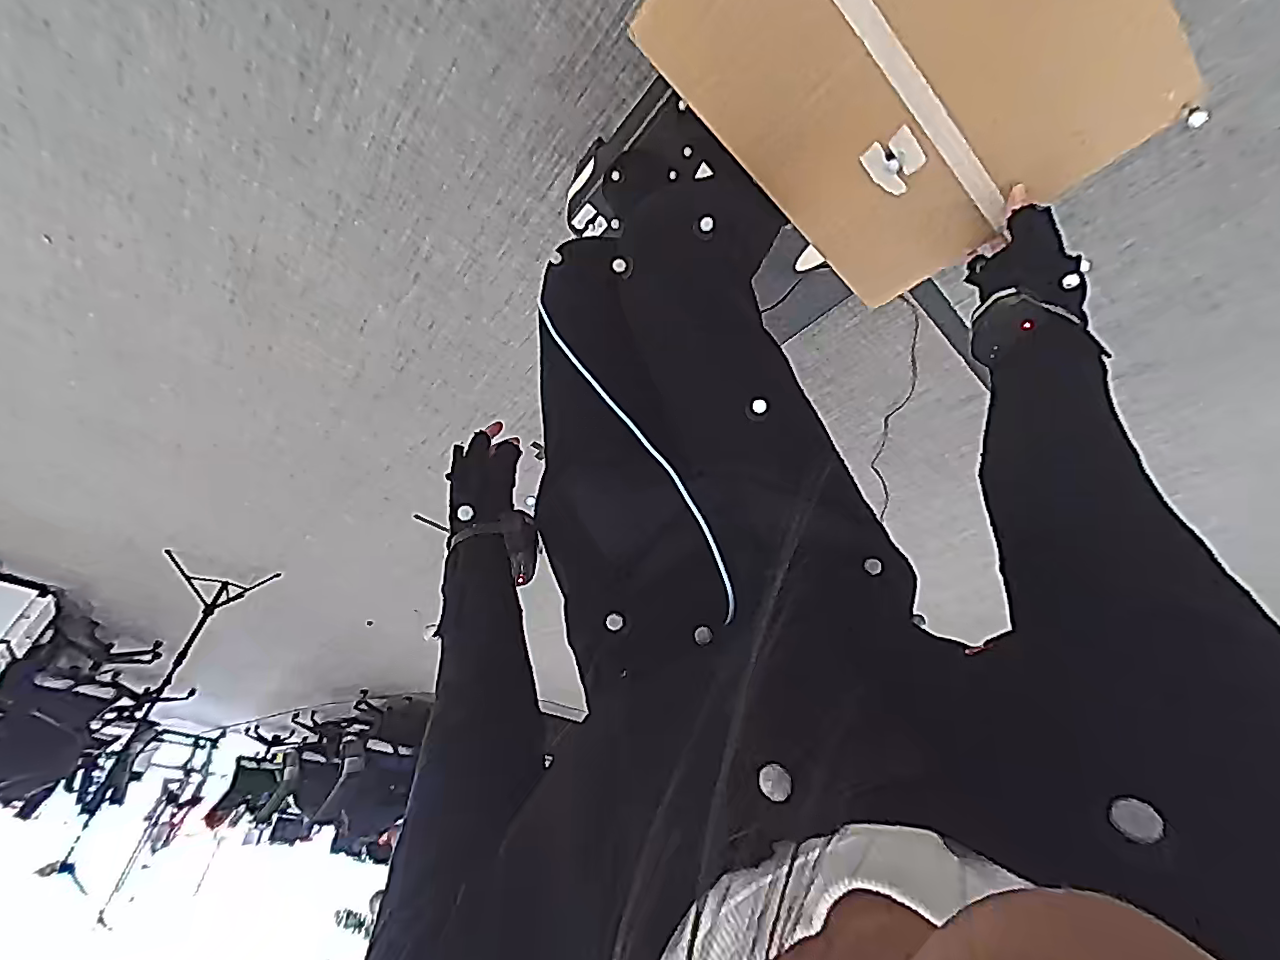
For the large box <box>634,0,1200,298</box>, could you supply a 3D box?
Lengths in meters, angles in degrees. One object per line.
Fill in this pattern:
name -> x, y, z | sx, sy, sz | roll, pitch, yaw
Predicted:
large box -> 0.265, -0.495, 0.577 | 0.408, 0.320, 0.320 | 36, 140, -23
